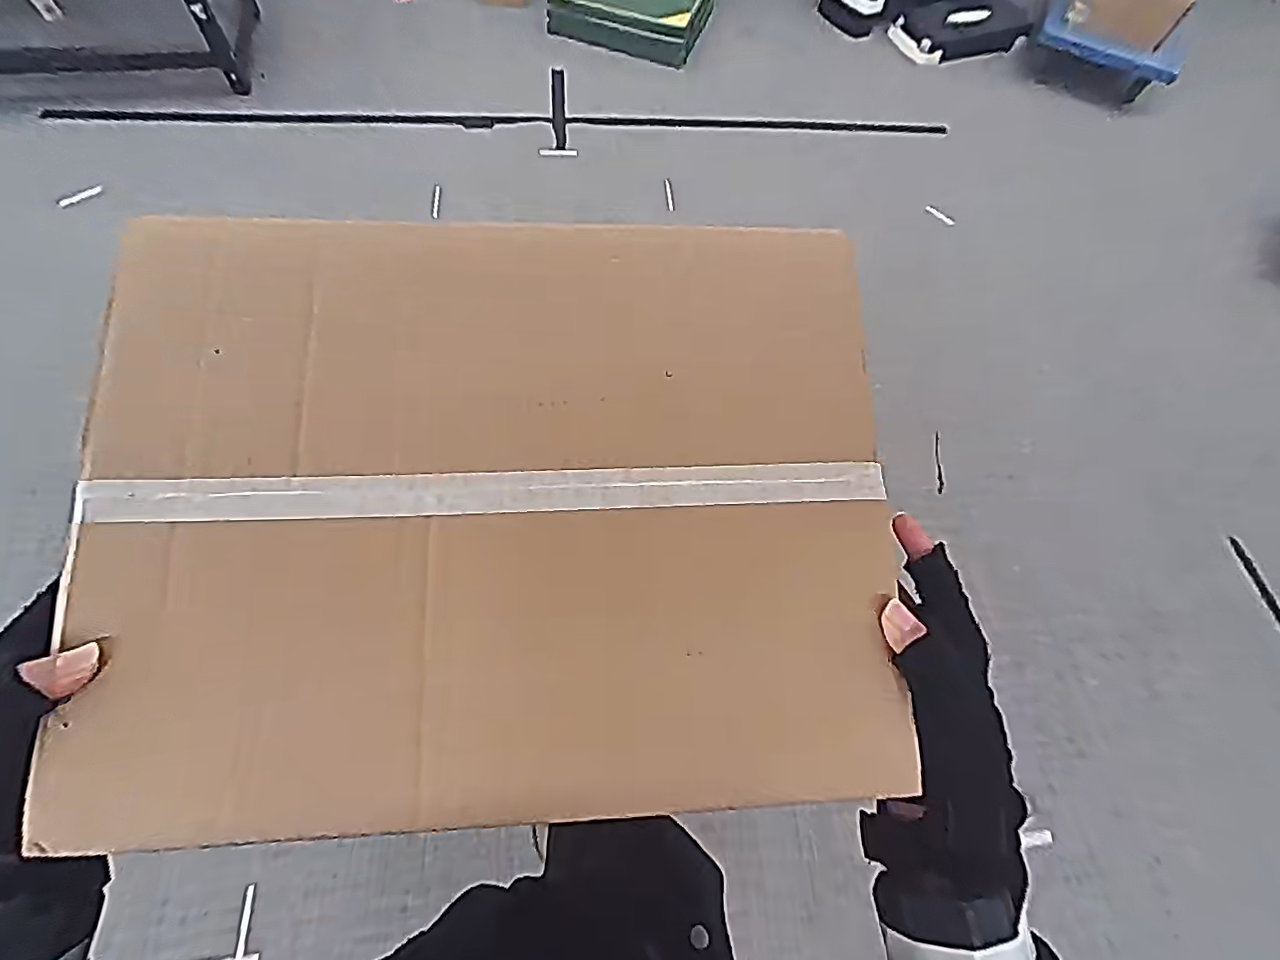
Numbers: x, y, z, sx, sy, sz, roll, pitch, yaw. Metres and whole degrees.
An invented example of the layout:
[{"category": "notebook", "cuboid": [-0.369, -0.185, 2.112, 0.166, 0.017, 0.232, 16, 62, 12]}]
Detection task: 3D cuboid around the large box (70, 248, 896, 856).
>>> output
[{"category": "large box", "cuboid": [-0.081, 0.042, 0.435, 0.408, 0.320, 0.320, -2, 78, -5]}]
